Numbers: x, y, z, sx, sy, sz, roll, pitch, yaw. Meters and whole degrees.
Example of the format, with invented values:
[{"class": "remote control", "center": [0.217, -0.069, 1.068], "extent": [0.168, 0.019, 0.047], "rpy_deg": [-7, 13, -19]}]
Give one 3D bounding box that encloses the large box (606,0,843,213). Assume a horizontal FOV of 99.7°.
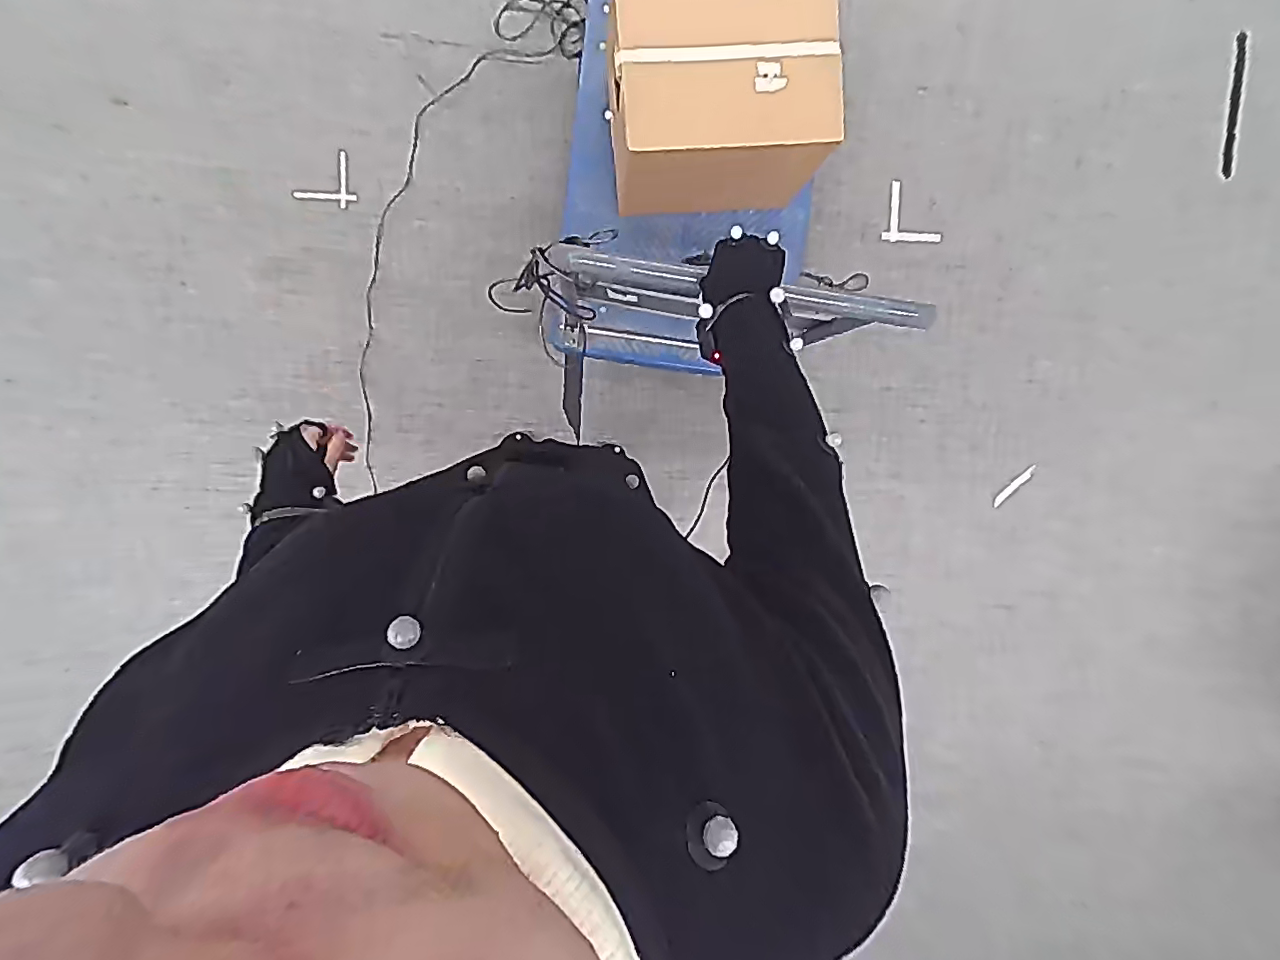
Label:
[{"class": "large box", "center": [0.148, -0.774, 1.109], "extent": [0.408, 0.320, 0.320], "rpy_deg": [-5, 97, -5]}]
